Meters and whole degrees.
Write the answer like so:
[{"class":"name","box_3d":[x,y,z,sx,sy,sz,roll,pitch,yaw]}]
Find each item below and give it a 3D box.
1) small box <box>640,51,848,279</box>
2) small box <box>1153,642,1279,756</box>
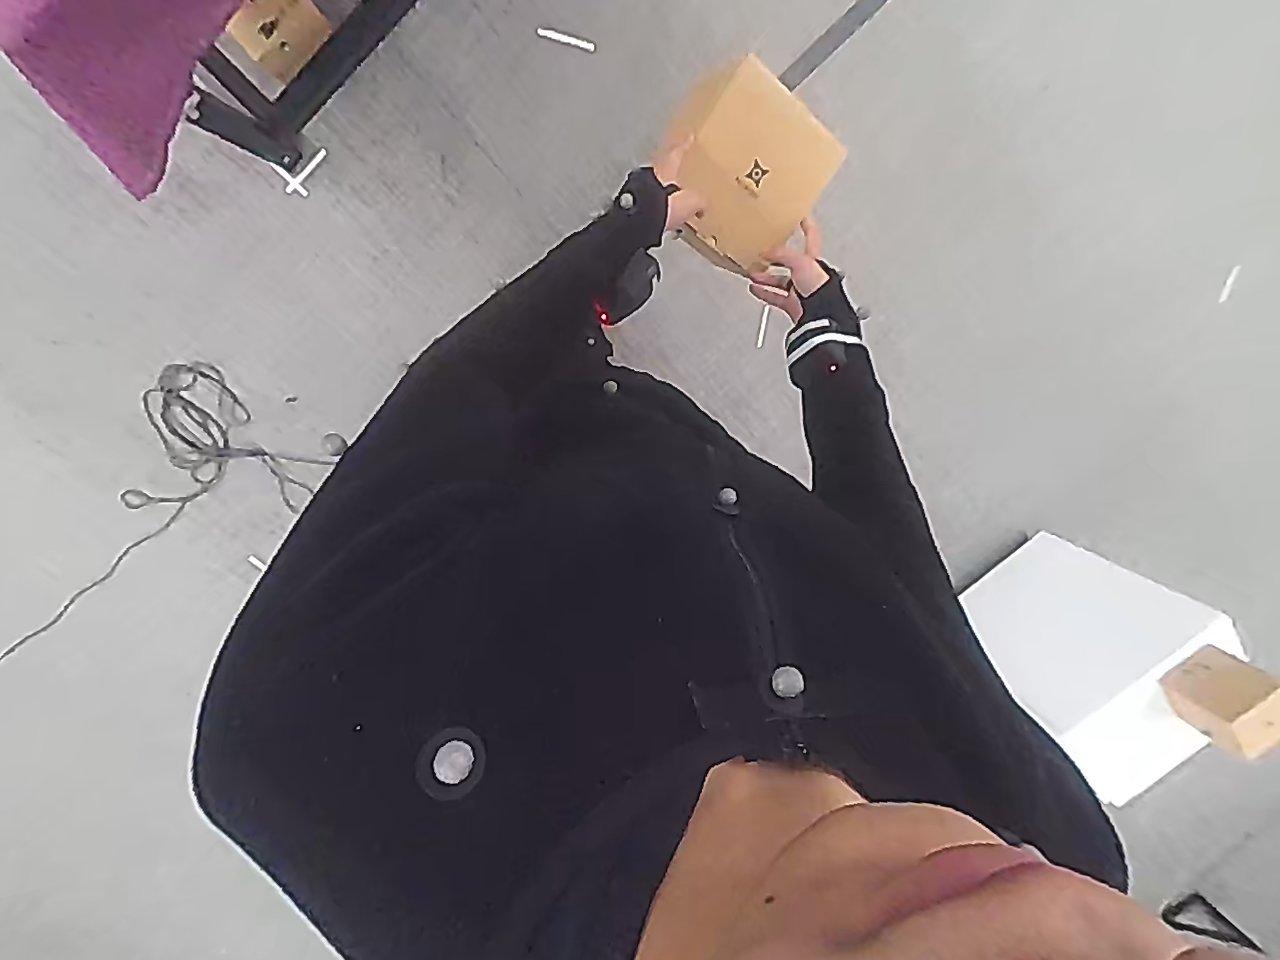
[{"class":"small box","box_3d":[0.119,-0.394,0.697,0.168,0.176,0.179,27,110,-25]},{"class":"small box","box_3d":[1.479,0.550,1.377,0.168,0.176,0.179,-40,110,4]}]
